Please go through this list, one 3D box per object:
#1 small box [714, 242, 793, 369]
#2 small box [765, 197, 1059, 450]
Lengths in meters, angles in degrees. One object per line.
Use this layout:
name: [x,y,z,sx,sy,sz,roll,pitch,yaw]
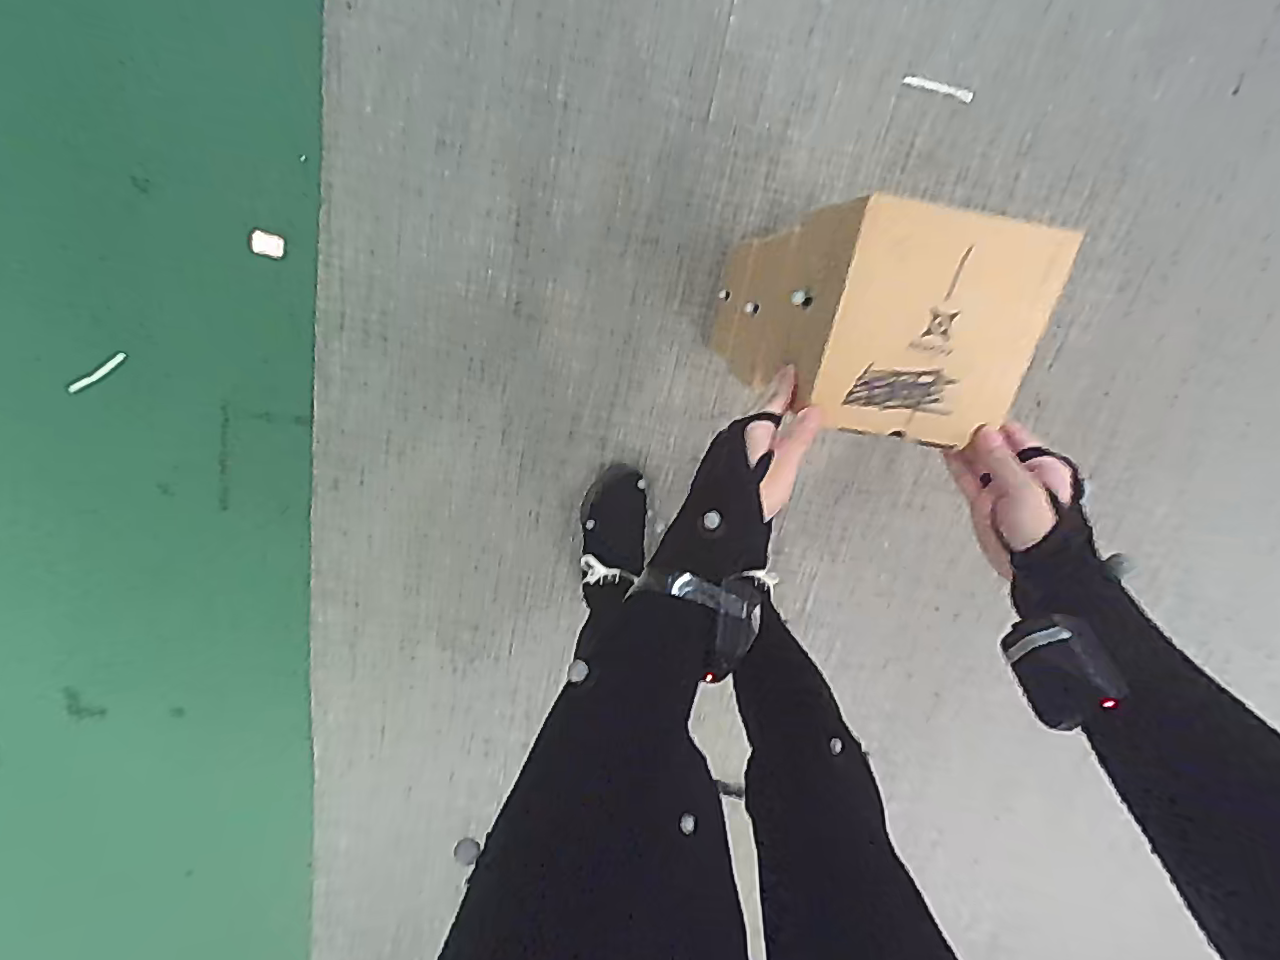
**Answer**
small box: [0.222,-0.256,0.835,0.179,0.176,0.168,10,109,-6]
small box: [0.228,-0.148,0.513,0.168,0.176,0.179,10,111,-4]
